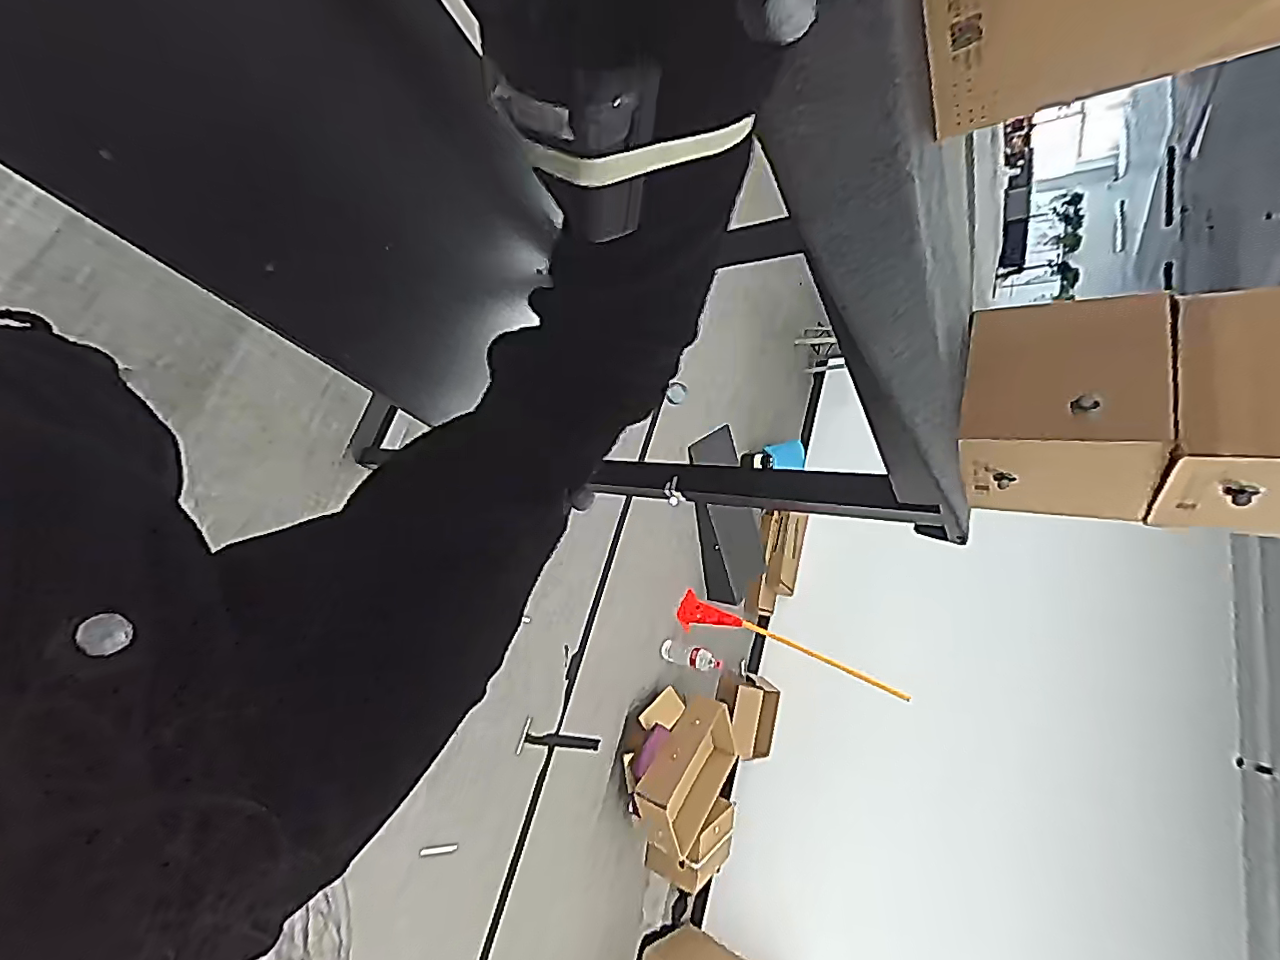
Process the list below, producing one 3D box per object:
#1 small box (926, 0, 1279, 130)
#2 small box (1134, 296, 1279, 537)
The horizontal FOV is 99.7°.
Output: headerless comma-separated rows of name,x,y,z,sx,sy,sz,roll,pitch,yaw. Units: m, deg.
small box,0.240,-0.322,0.267,0.168,0.176,0.179,39,61,-50
small box,0.589,-0.058,0.504,0.168,0.176,0.179,40,63,-48
